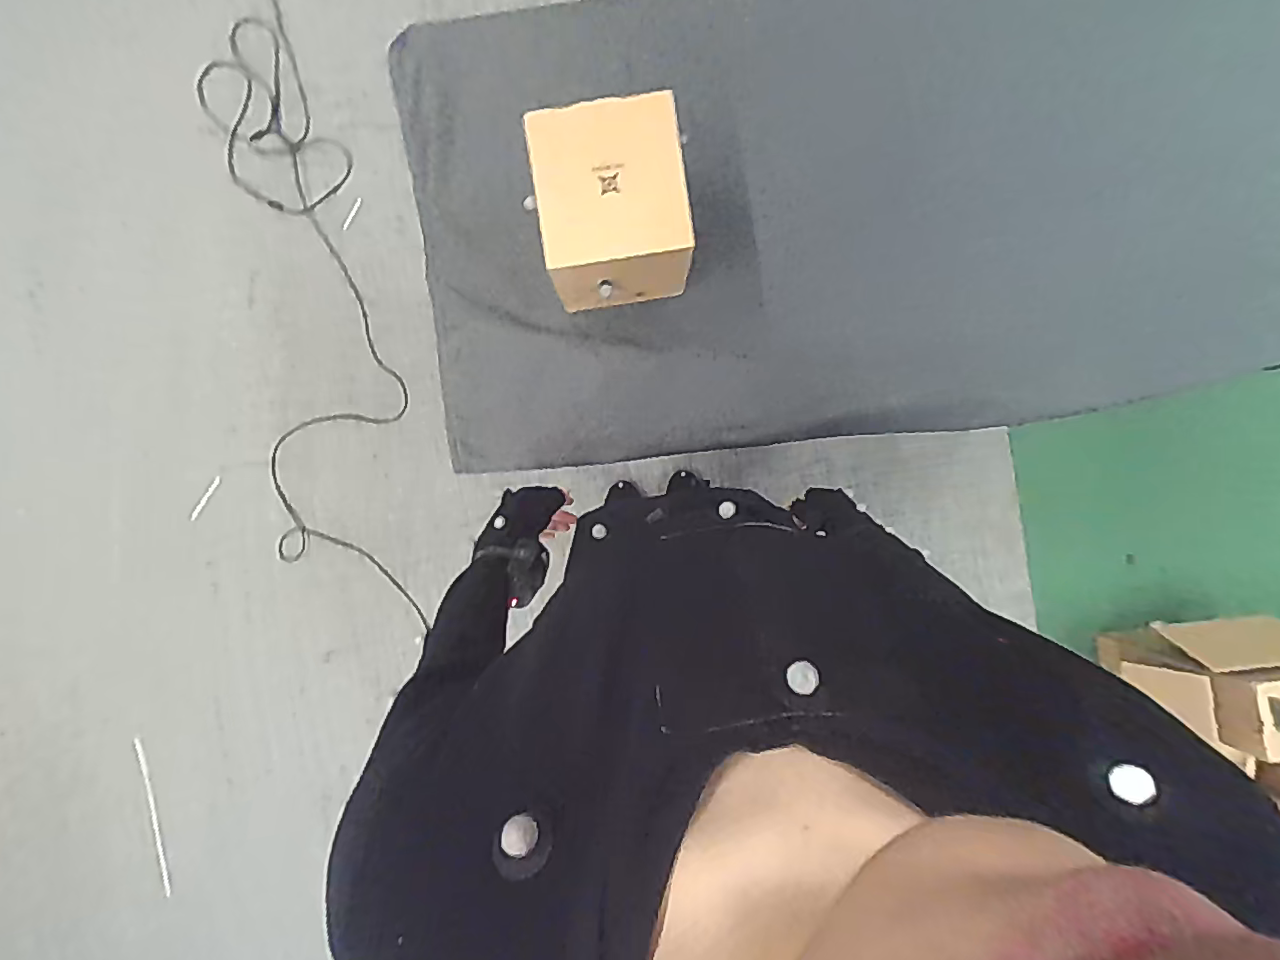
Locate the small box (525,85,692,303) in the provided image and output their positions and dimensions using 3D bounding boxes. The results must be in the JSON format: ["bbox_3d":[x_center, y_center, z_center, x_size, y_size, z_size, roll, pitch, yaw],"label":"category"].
[{"bbox_3d":[-0.031,-0.331,0.666,0.168,0.176,0.179,-9,90,1],"label":"small box"}]
